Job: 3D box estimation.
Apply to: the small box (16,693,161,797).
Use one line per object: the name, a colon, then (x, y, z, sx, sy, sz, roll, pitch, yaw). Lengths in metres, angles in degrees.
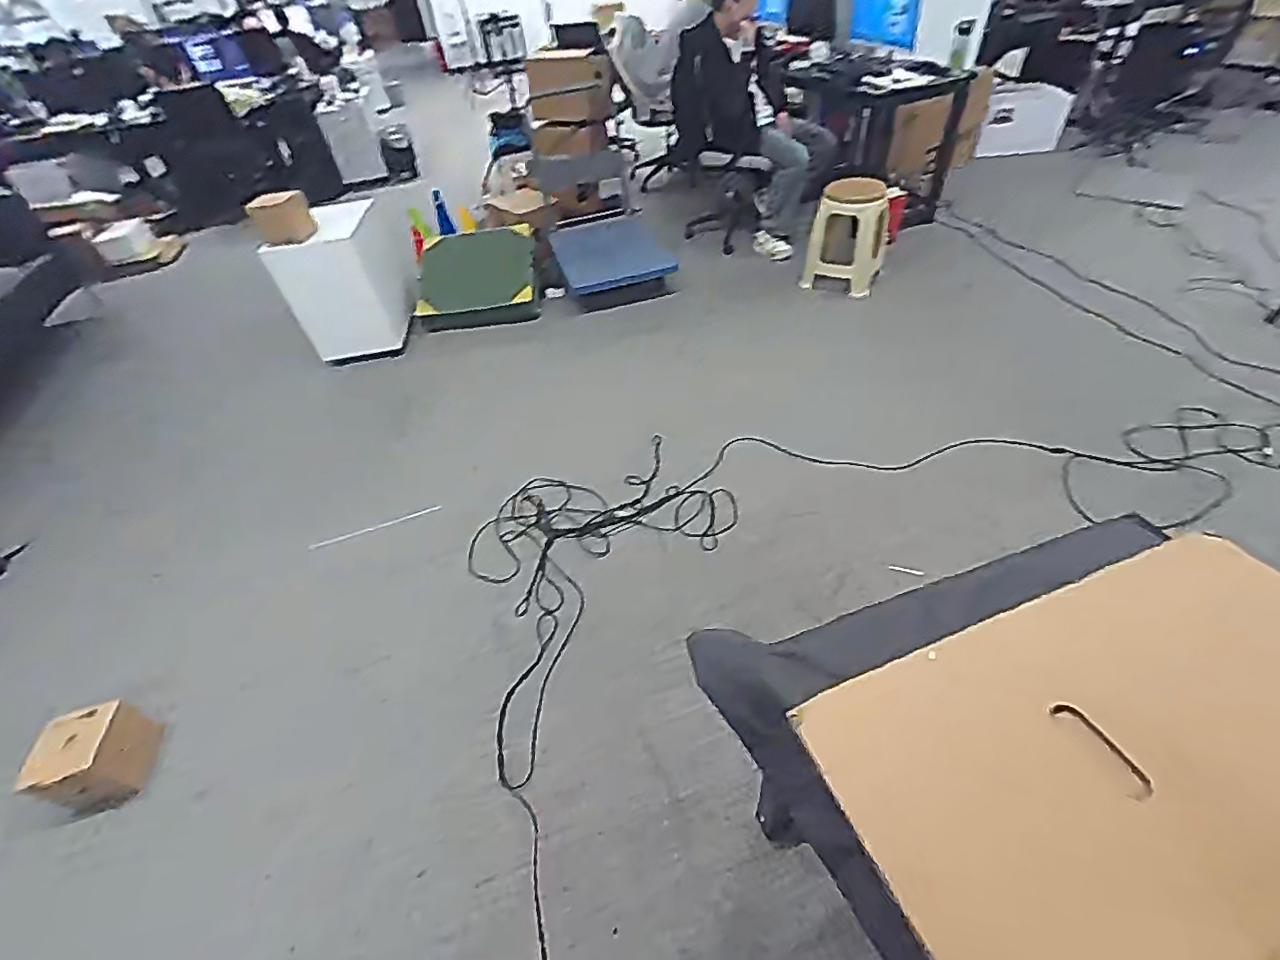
small box: (-1.371, 0.675, 1.364, 0.168, 0.176, 0.179, -15, 47, -7)
